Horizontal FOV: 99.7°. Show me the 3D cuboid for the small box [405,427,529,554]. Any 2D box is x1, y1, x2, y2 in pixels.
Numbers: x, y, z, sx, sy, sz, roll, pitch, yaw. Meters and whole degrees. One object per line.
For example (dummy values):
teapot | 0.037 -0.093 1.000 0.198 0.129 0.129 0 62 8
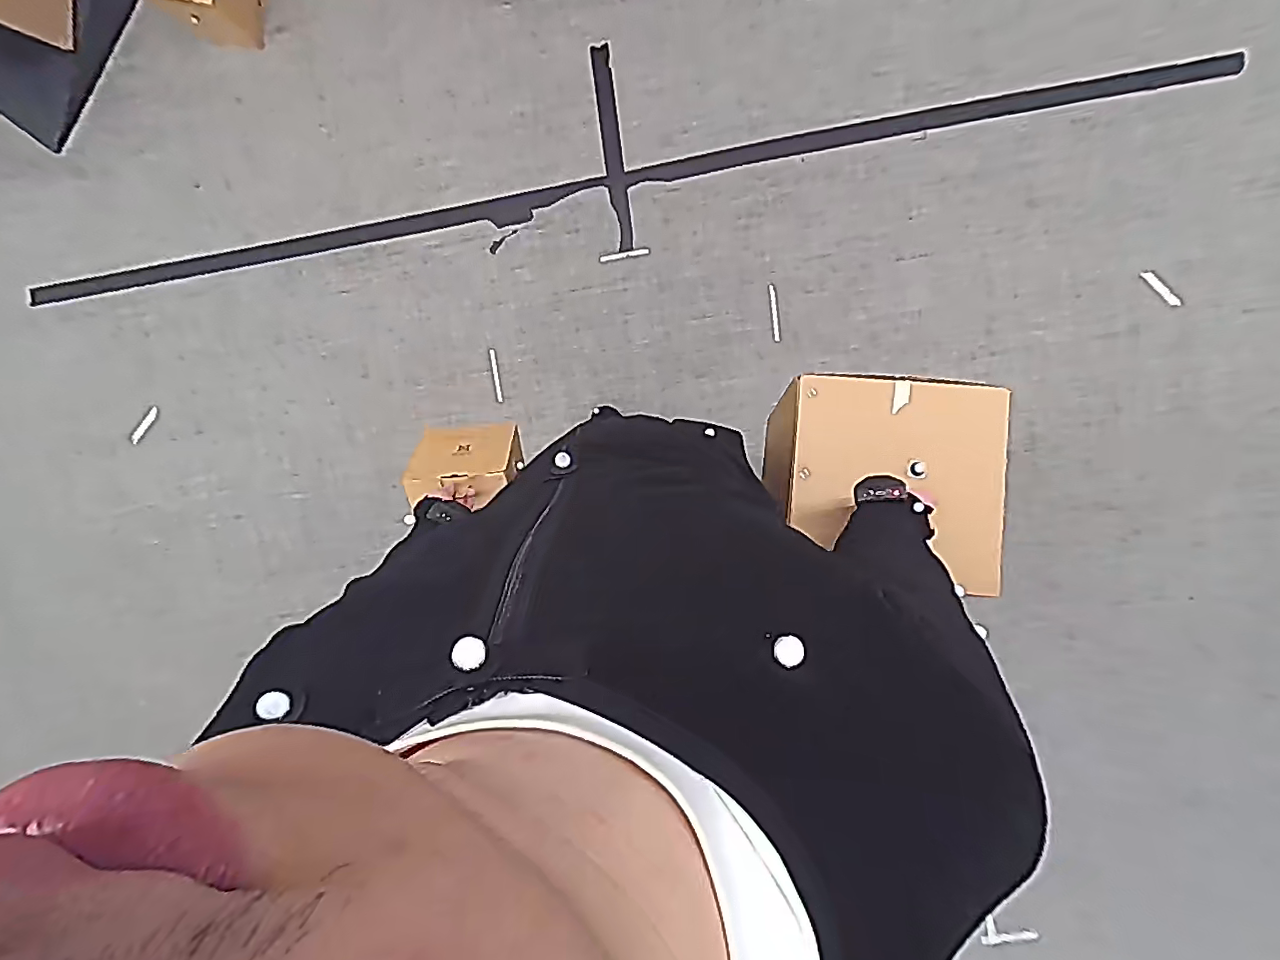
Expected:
small box | -0.302 0.022 0.987 0.168 0.179 0.176 -5 122 -3
